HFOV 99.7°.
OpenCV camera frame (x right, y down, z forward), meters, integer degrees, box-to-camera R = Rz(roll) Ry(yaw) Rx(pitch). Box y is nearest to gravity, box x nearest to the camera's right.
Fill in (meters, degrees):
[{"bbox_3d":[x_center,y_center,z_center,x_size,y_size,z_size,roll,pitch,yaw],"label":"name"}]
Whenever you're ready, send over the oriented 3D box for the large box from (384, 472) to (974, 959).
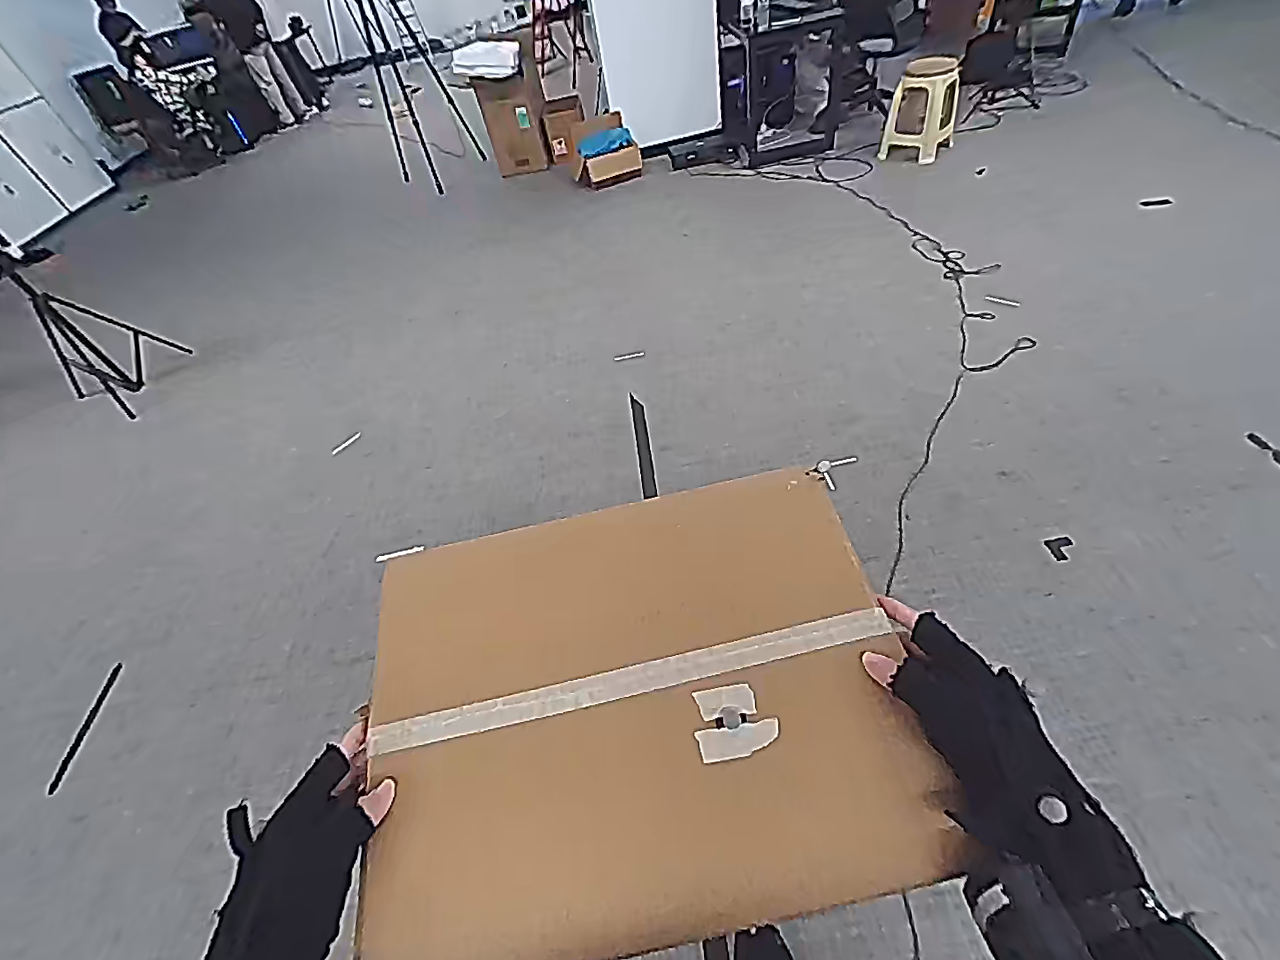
[{"bbox_3d":[0.015,0.241,0.553,0.408,0.320,0.320,-13,56,-1],"label":"large box"}]
